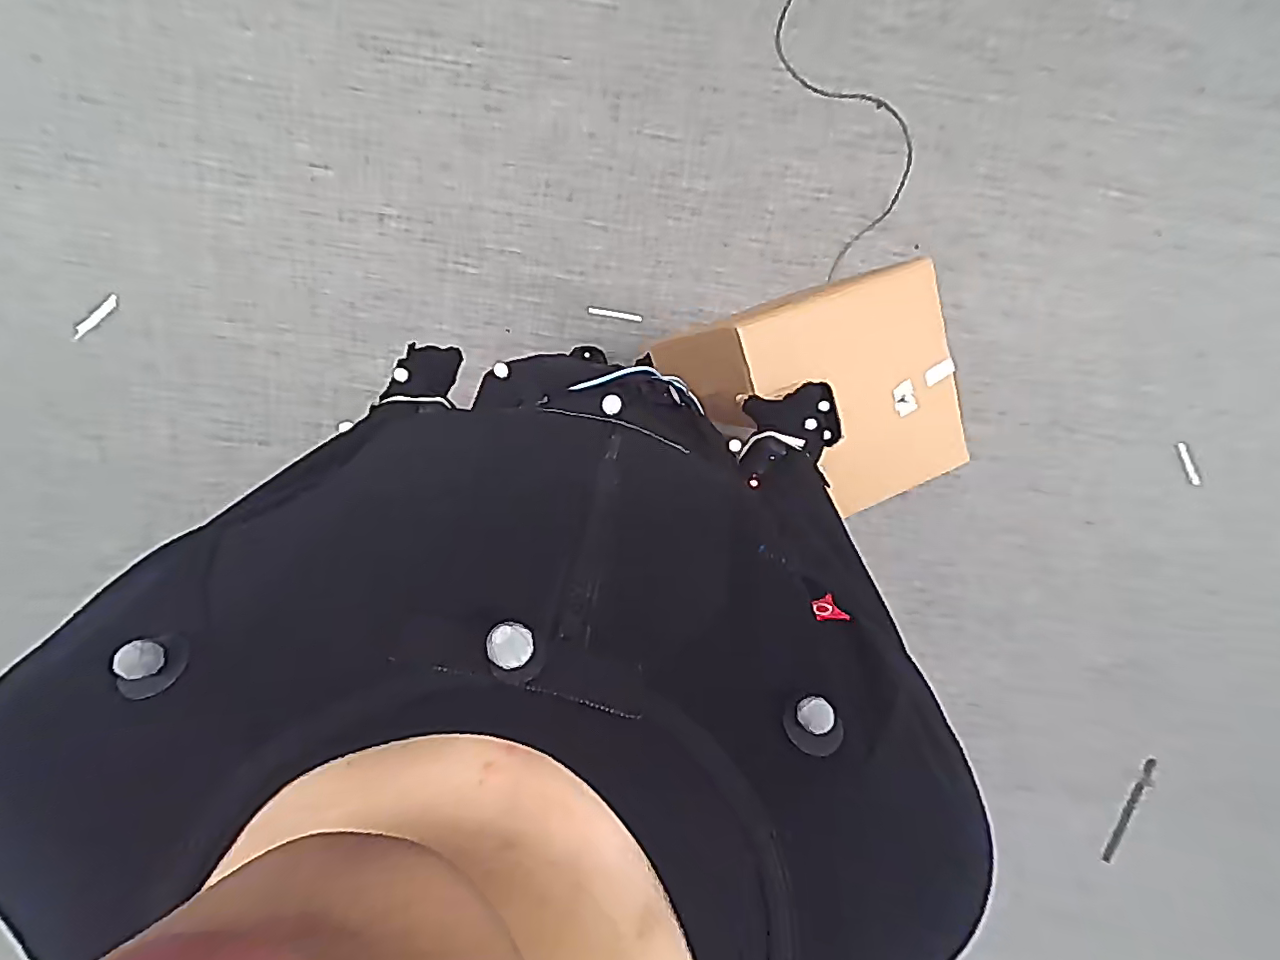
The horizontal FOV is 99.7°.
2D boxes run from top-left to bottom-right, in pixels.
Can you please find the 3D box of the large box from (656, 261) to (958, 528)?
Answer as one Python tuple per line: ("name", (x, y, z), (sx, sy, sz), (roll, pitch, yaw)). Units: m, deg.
("large box", (0.264, -0.153, 0.959), (0.320, 0.408, 0.320), (-20, 104, -9))
